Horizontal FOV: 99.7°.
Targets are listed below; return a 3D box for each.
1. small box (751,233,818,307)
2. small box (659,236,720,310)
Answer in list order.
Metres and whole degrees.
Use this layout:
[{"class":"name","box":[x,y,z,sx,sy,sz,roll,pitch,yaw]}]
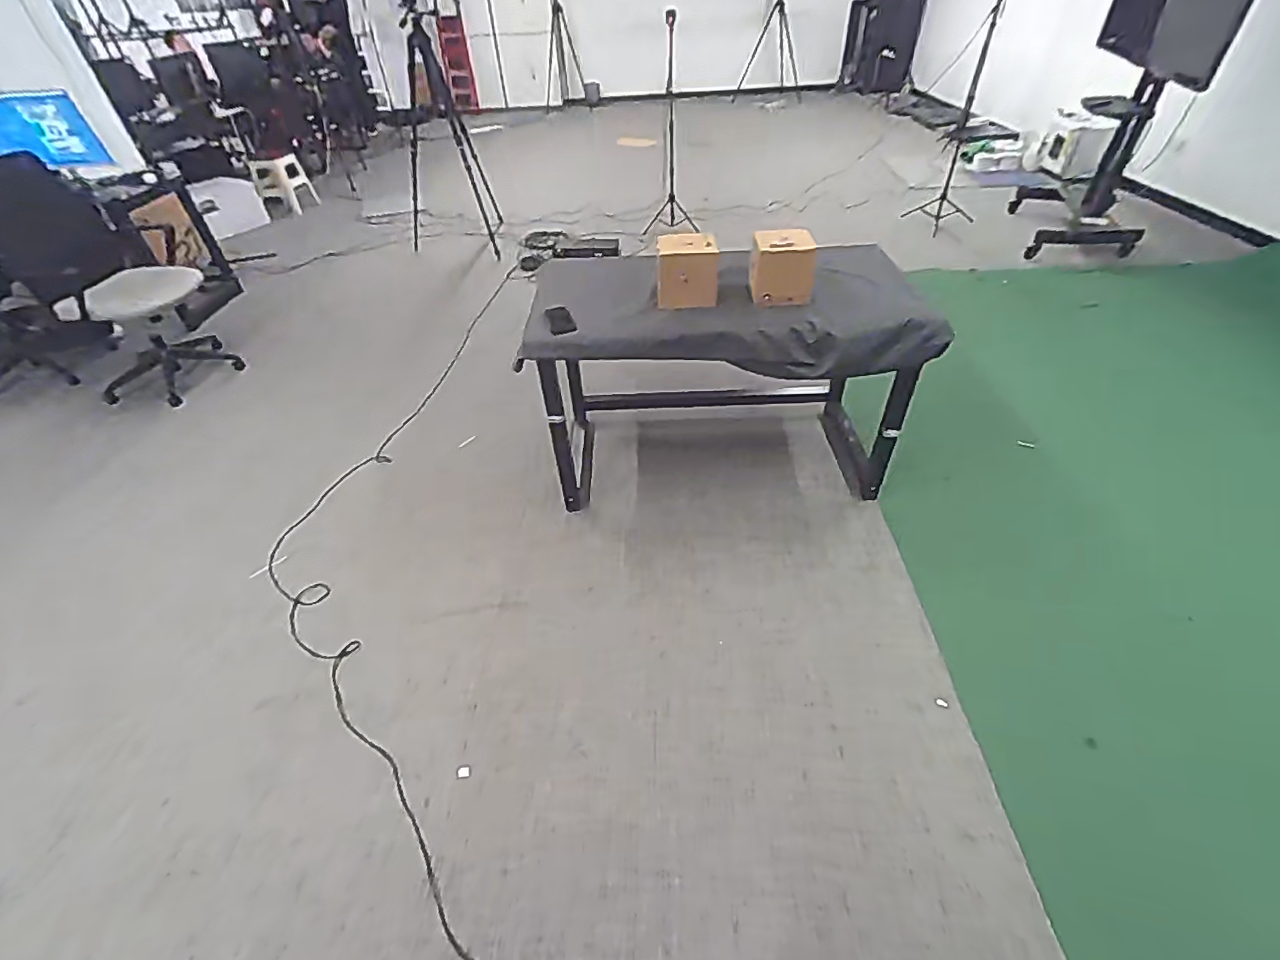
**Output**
[{"class":"small box","box":[0.438,-0.642,1.661,0.168,0.176,0.179,0,42,3]},{"class":"small box","box":[0.153,-0.637,1.674,0.179,0.176,0.168,-2,43,2]}]
